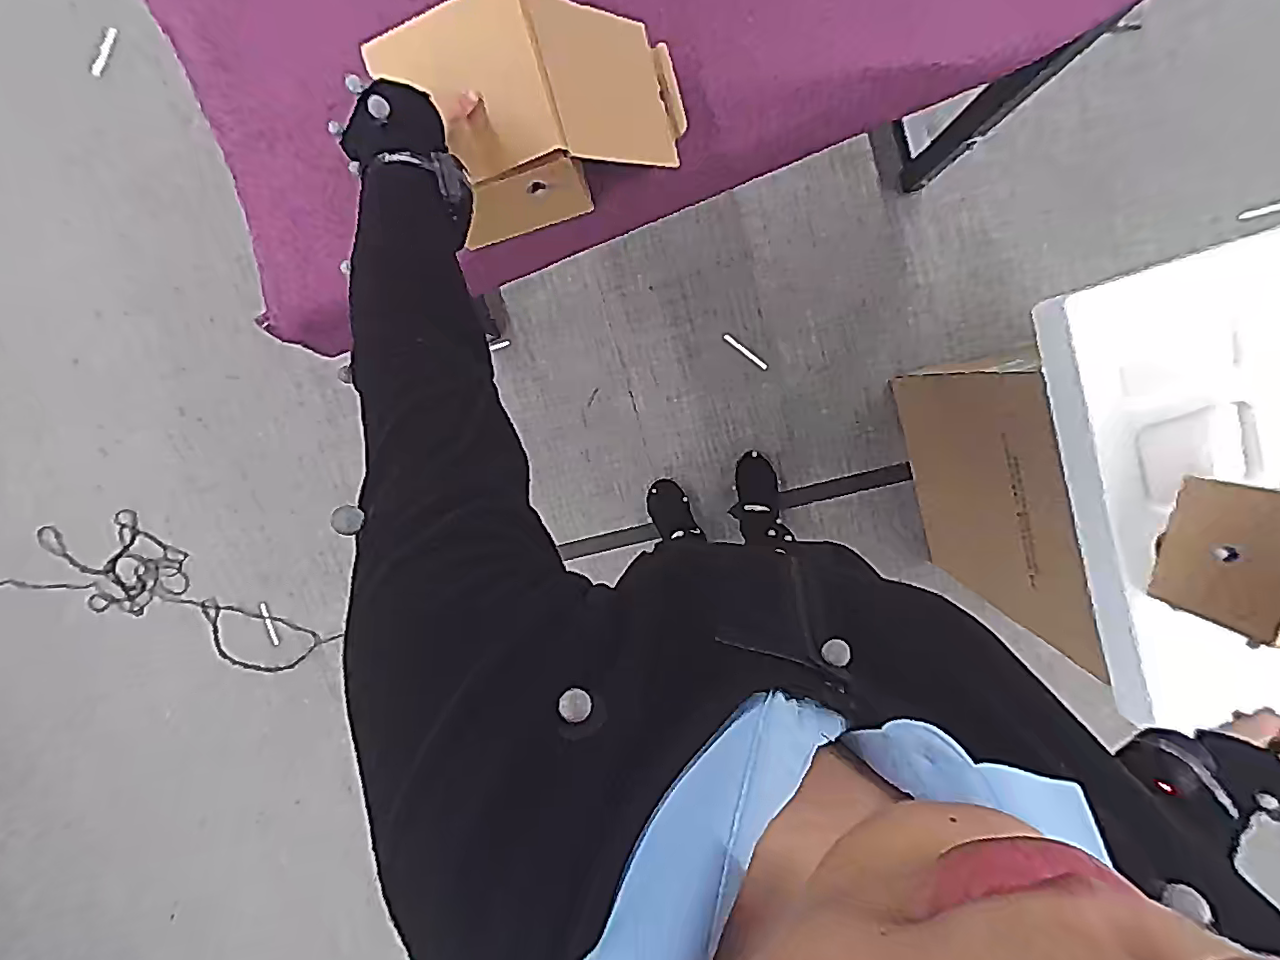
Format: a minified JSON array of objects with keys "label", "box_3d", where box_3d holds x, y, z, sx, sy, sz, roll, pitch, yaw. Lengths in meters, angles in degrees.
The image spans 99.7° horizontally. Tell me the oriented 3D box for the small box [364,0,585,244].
[{"label":"small box","box_3d":[-0.171,-0.398,0.625,0.179,0.176,0.168,-15,97,7]}]
